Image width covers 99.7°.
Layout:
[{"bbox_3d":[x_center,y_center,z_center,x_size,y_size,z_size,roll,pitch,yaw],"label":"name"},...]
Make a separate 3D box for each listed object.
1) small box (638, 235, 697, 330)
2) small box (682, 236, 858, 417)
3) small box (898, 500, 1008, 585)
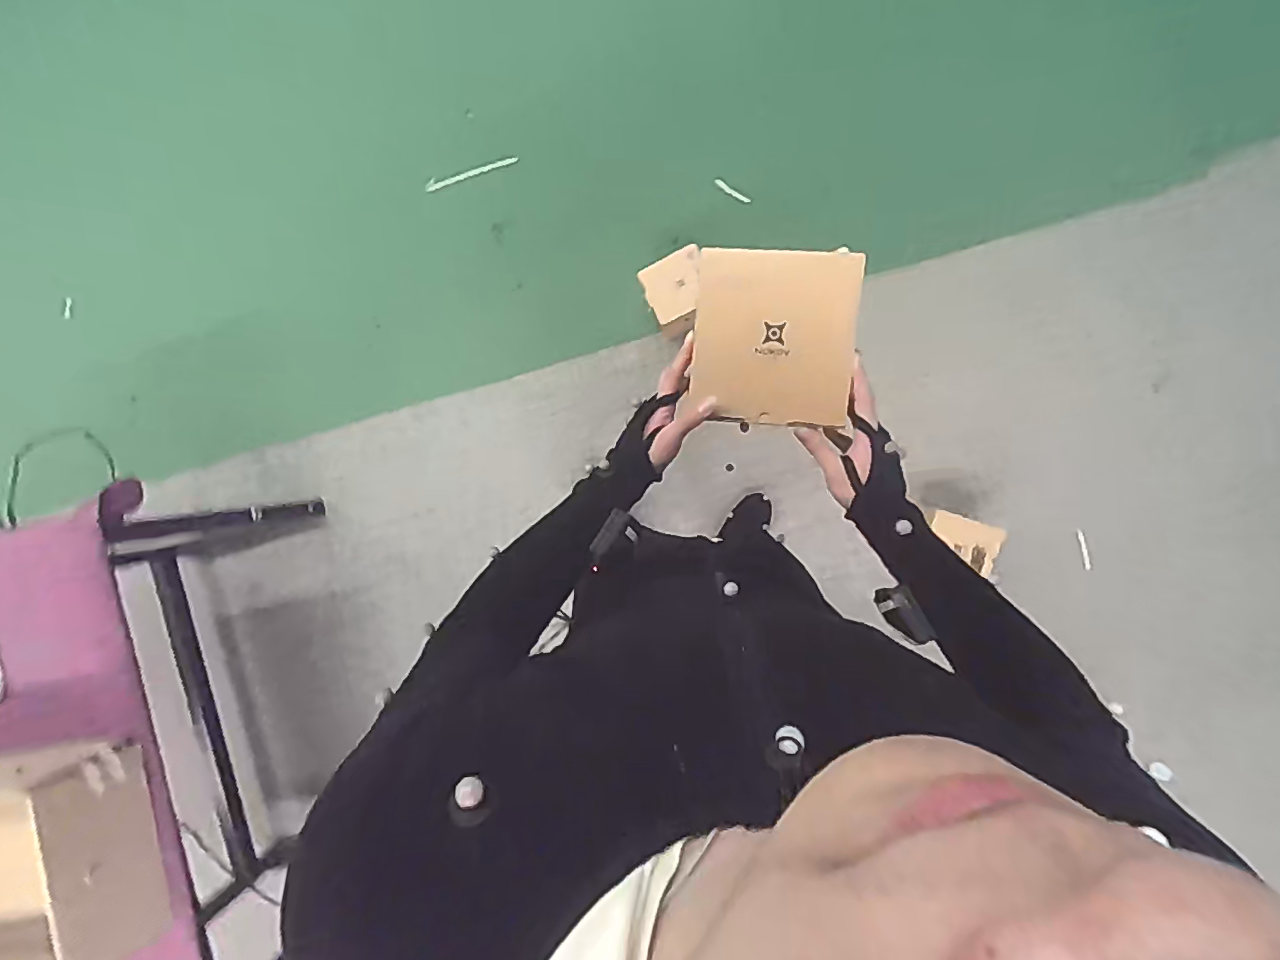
[{"bbox_3d":[0.117,-0.544,1.521,0.179,0.176,0.168,-24,88,10],"label":"small box"},{"bbox_3d":[0.139,-0.166,0.629,0.168,0.176,0.179,4,99,7],"label":"small box"},{"bbox_3d":[0.822,0.158,1.437,0.179,0.176,0.168,19,95,8],"label":"small box"}]
